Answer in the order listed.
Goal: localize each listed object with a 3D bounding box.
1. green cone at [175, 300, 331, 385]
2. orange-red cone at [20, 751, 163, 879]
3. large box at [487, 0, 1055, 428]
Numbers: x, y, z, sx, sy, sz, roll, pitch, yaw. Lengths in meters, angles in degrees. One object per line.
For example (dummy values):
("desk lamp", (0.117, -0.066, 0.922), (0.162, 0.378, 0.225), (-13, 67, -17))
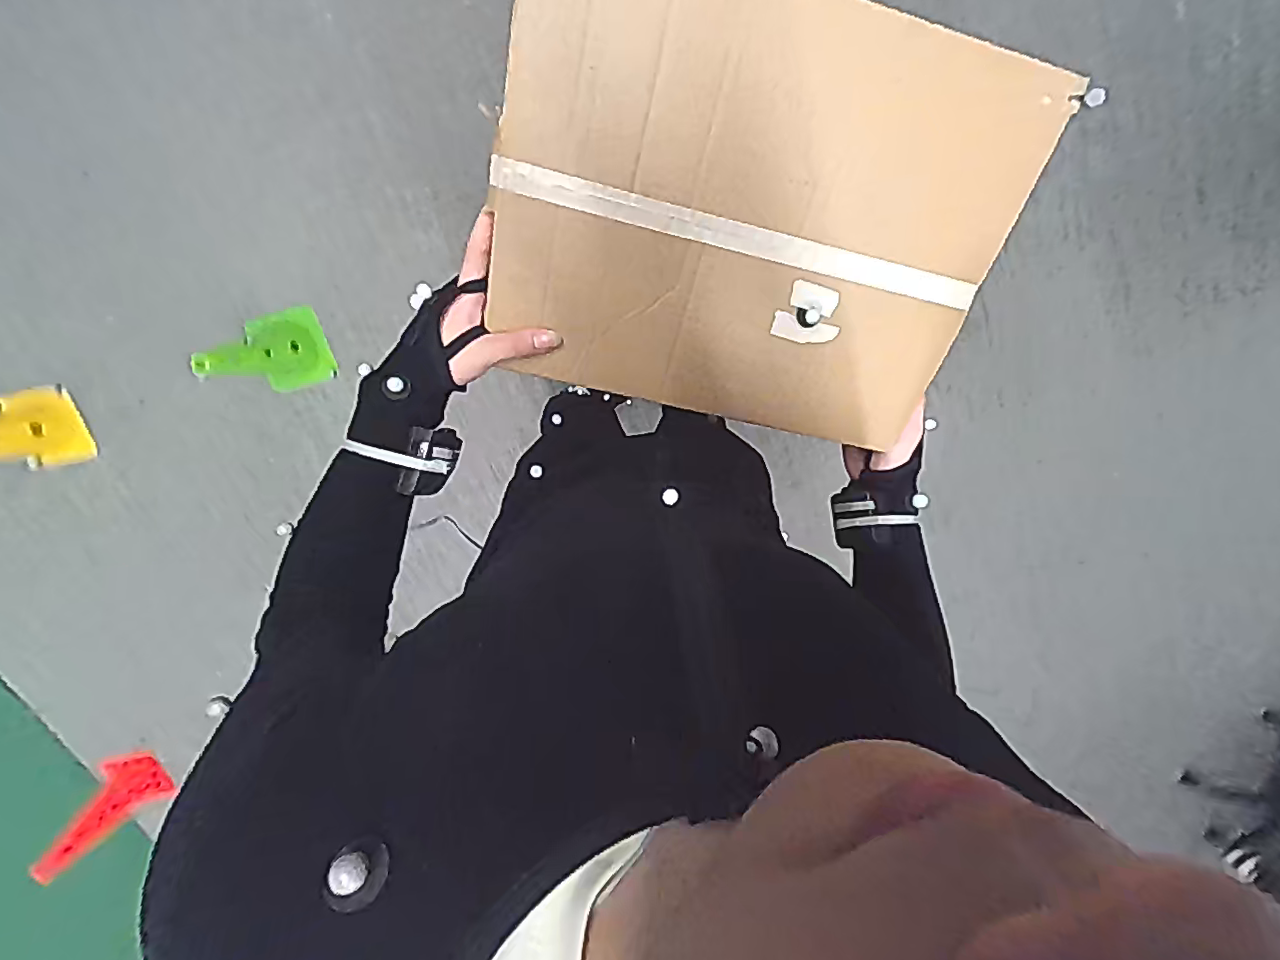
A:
("green cone", (-0.971, -0.322, 1.321), (0.202, 0.368, 0.200), (-14, 108, 4))
("orange-red cone", (-1.820, 1.110, 1.764), (0.198, 0.360, 0.199), (-12, 110, 3))
("large box", (0.075, -0.284, 0.570), (0.408, 0.320, 0.320), (9, 121, -9))
